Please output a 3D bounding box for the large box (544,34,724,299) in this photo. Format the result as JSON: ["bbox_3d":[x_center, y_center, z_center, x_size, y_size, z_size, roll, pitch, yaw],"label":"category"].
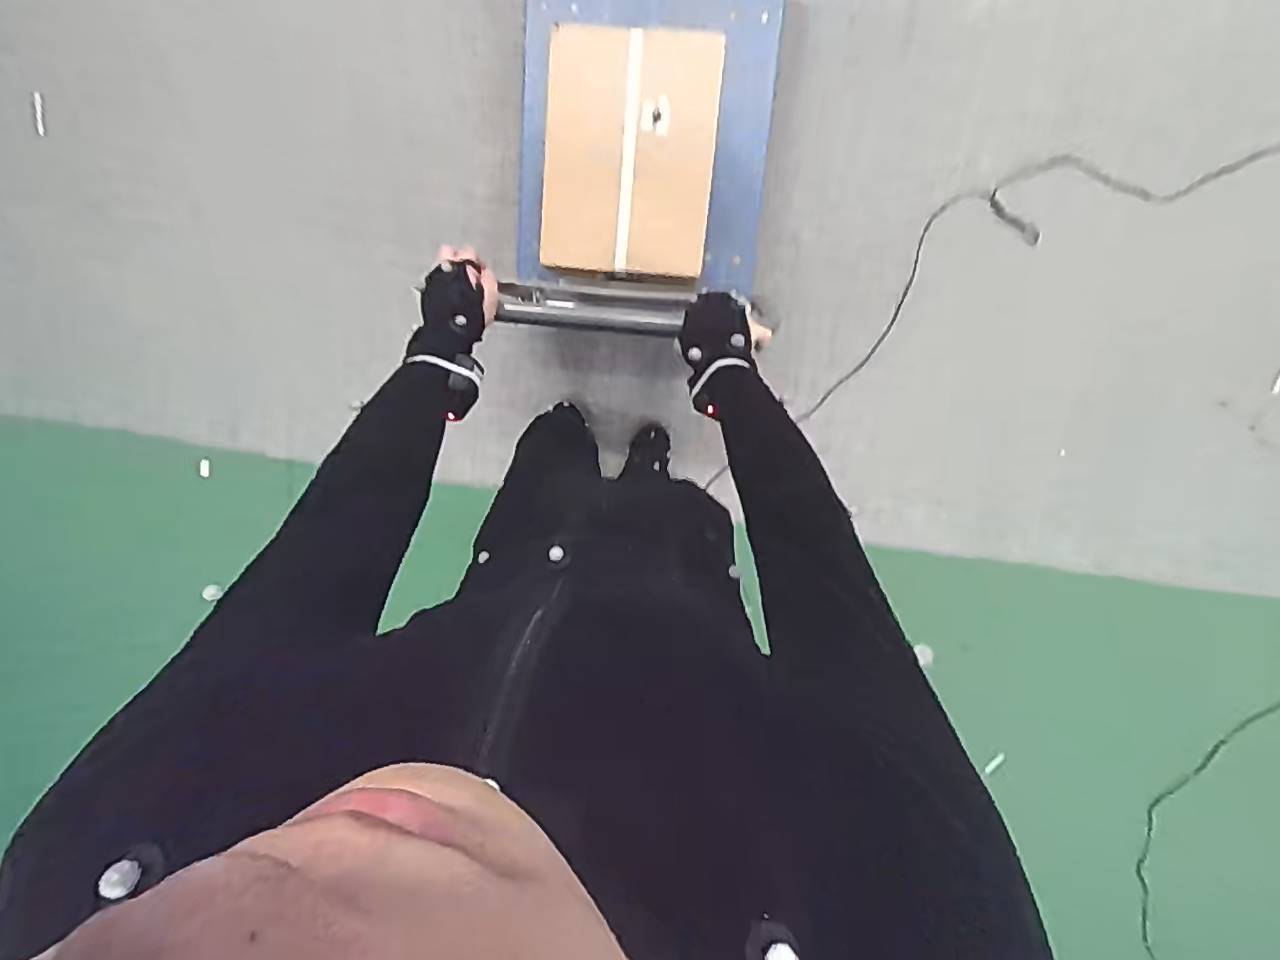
[{"bbox_3d":[-0.006,-0.616,1.140,0.320,0.320,0.408,6,101,2],"label":"large box"}]
